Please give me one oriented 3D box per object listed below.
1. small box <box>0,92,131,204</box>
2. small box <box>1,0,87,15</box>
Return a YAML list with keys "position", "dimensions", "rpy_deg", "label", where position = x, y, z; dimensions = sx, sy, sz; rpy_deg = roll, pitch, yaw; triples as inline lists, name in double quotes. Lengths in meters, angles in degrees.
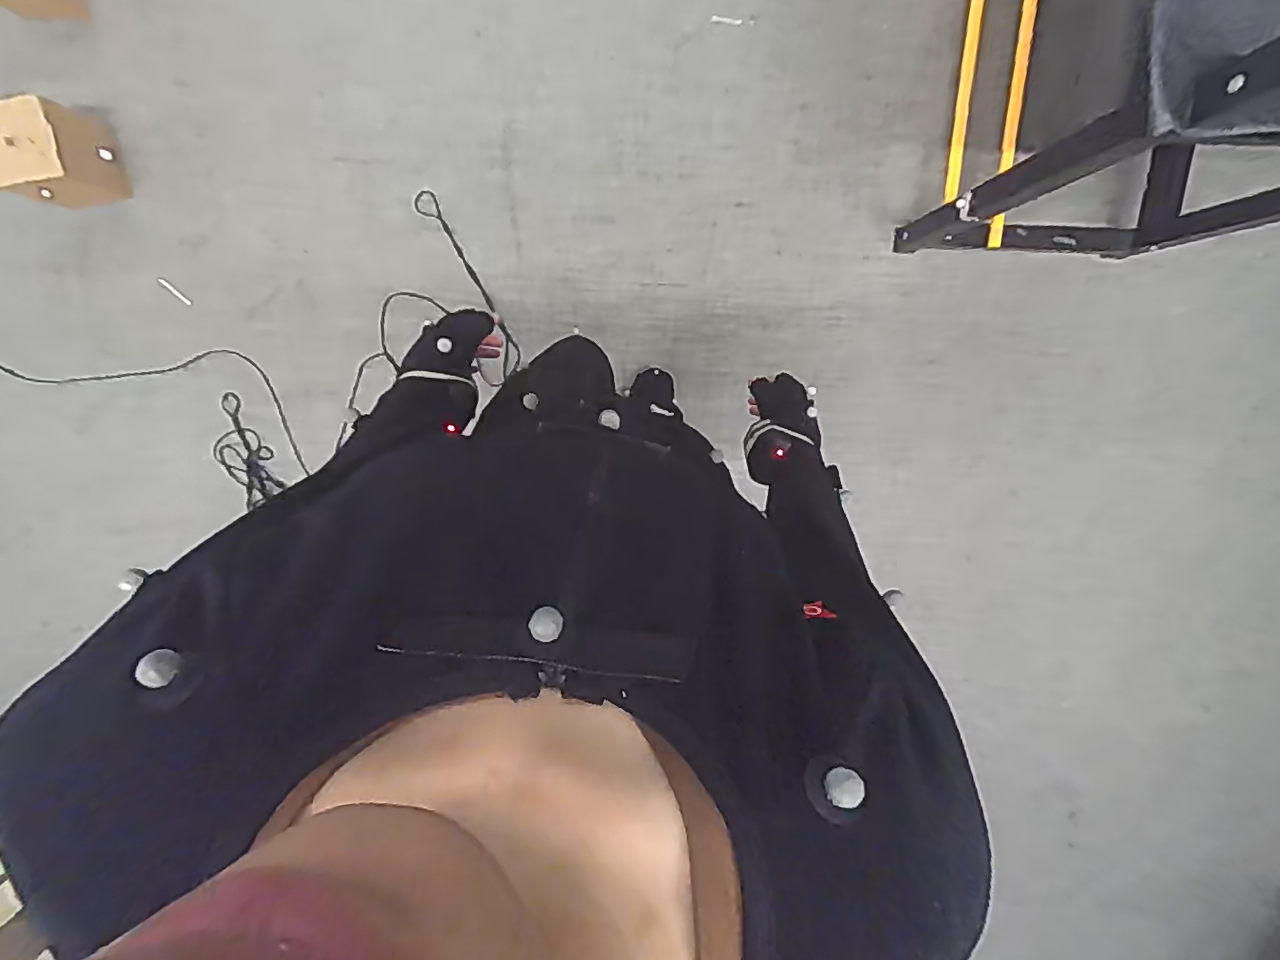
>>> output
- position: [-1.365, -0.763, 1.261]
  dimensions: [0.179, 0.176, 0.168]
  rpy_deg: [-8, 103, 3]
  label: "small box"
- position: [-1.382, -1.161, 1.178]
  dimensions: [0.179, 0.176, 0.168]
  rpy_deg: [3, 102, 0]
  label: "small box"
